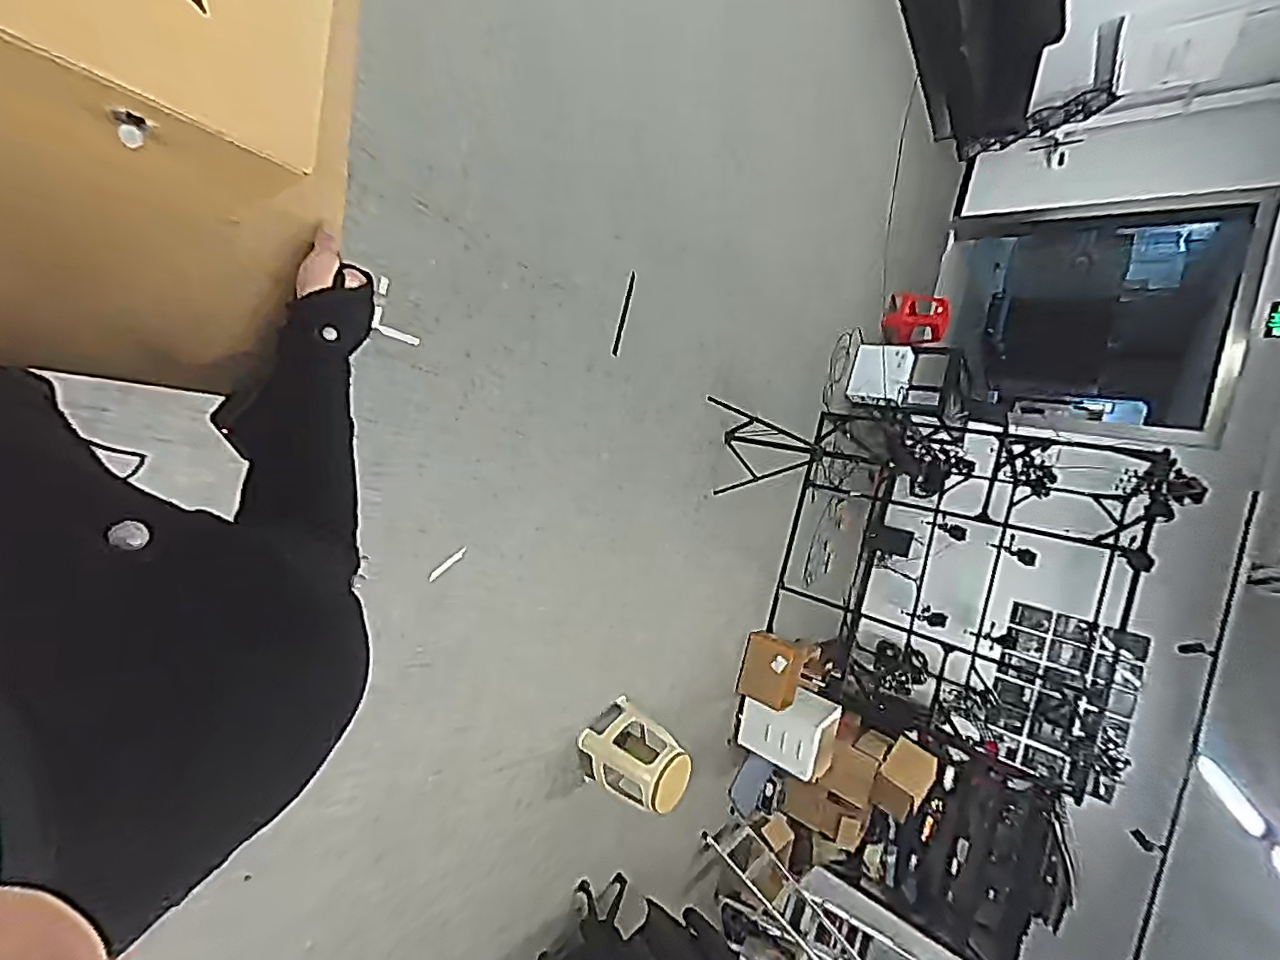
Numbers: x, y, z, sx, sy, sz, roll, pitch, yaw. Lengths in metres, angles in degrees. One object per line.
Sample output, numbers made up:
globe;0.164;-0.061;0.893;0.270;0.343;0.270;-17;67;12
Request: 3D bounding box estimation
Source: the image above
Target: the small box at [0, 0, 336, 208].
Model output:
small box;-0.360;-0.327;0.403;0.179;0.176;0.168;6;90;-51
